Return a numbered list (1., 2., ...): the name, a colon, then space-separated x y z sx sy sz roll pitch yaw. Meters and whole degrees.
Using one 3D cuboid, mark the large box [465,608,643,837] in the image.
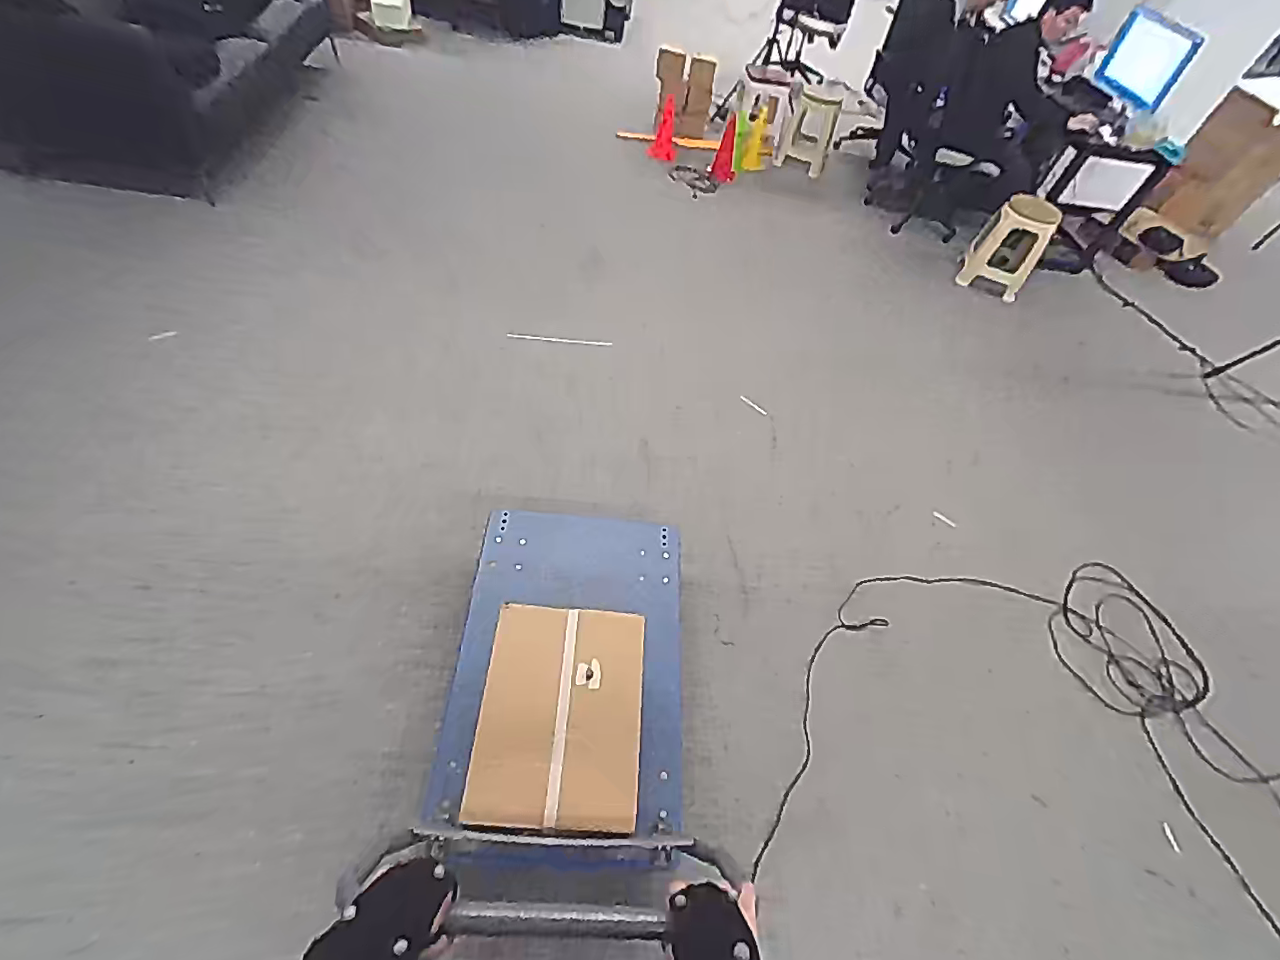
1. large box: -0.170 0.542 1.196 0.320 0.320 0.408 7 54 -5
